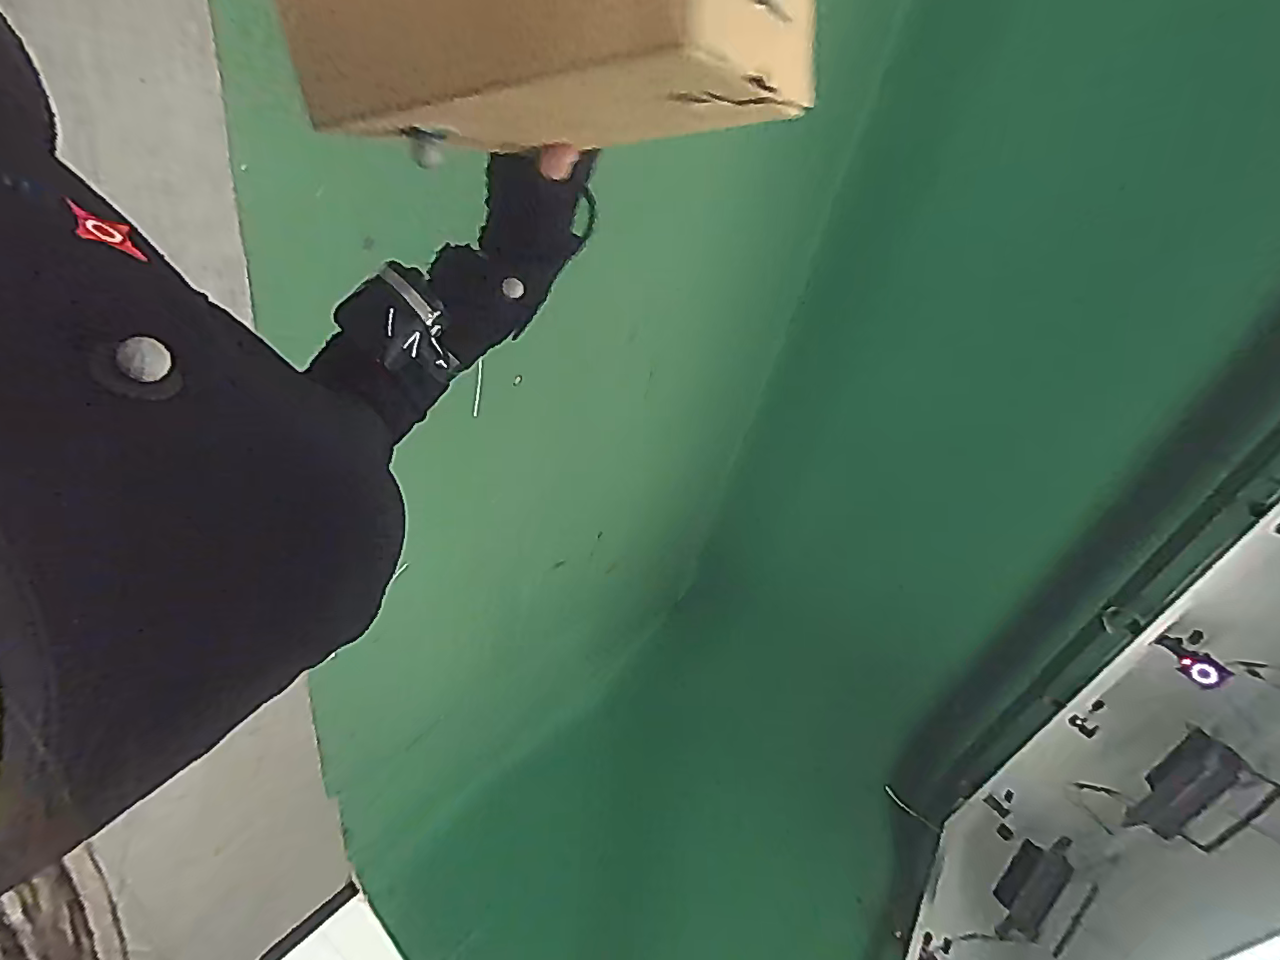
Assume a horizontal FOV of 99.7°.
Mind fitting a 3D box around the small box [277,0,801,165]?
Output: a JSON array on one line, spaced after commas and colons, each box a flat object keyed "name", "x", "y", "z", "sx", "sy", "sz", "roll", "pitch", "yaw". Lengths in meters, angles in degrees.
[{"name": "small box", "x": -0.035, "y": -0.238, "z": 0.218, "sx": 0.168, "sy": 0.176, "sz": 0.179, "roll": -46, "pitch": 136, "yaw": -54}]
